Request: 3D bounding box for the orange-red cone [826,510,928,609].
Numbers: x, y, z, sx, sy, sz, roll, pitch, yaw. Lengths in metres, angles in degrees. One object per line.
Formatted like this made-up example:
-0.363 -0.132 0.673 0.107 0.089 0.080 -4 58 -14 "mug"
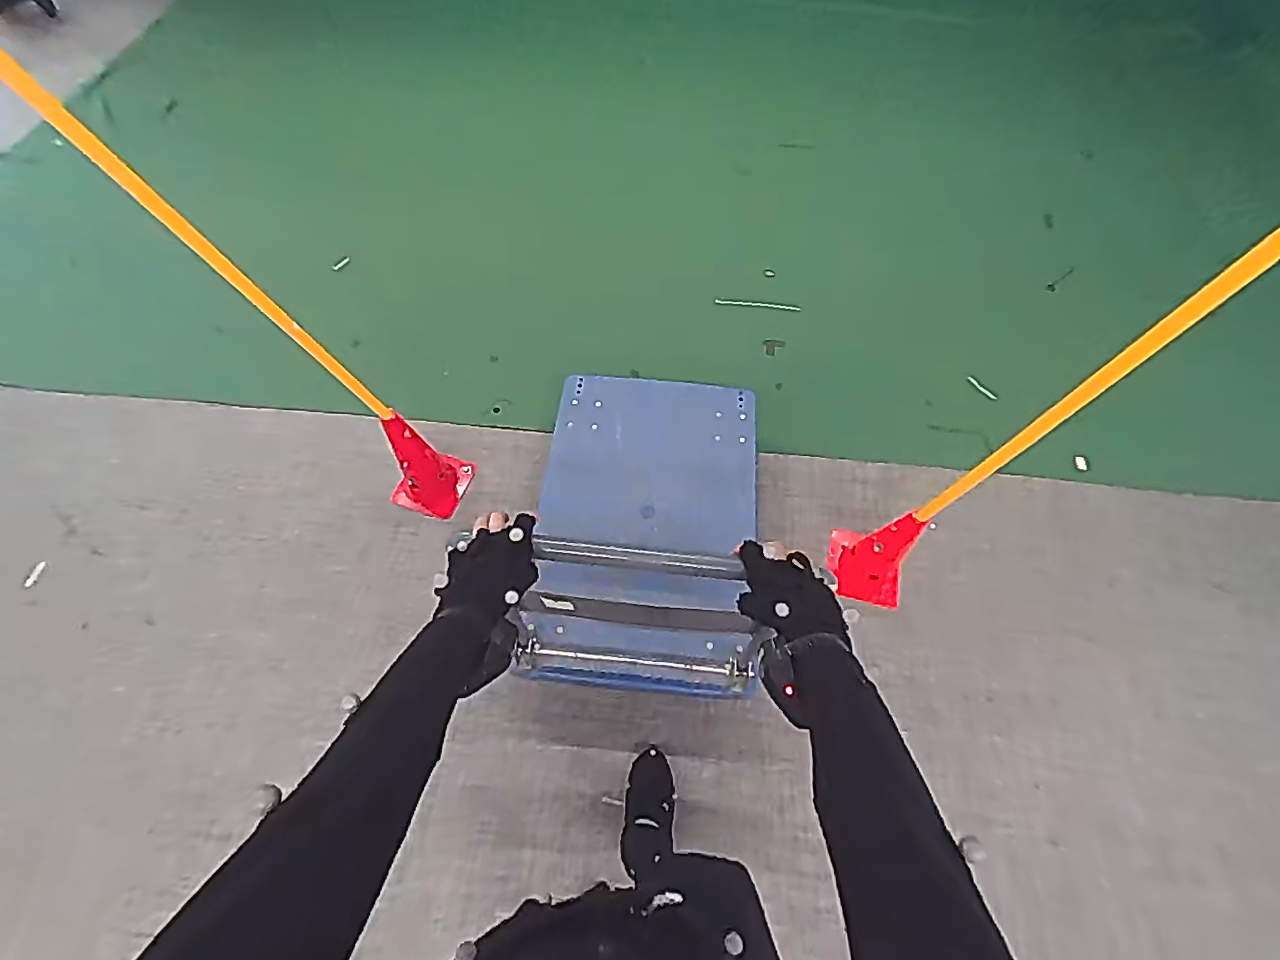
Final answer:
0.638 0.171 1.383 0.198 0.360 0.199 15 63 8 "orange-red cone"
